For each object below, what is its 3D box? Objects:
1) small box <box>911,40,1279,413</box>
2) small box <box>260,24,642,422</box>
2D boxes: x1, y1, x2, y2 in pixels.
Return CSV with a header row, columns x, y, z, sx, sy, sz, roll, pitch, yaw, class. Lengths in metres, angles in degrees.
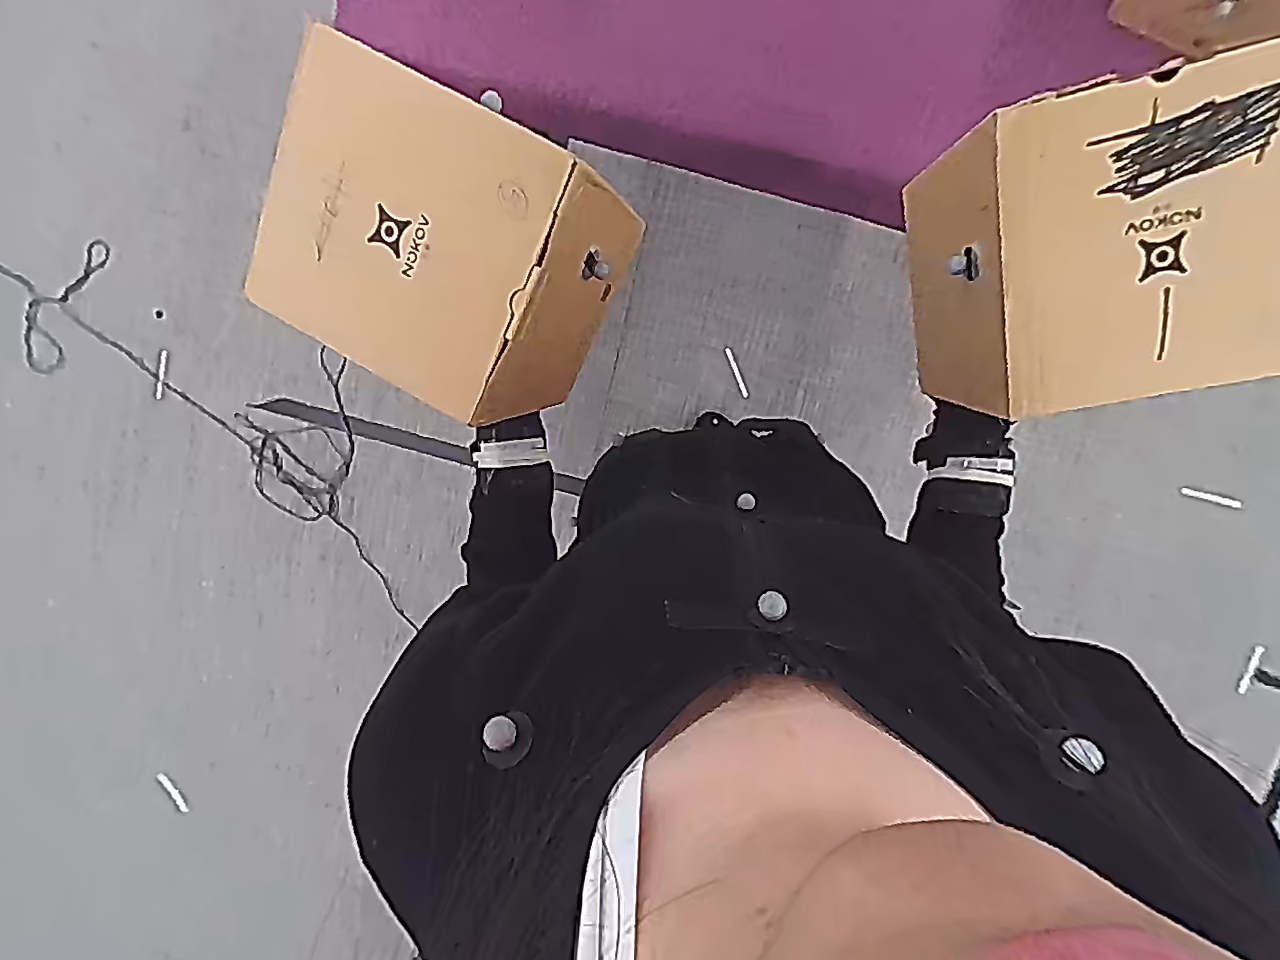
x,y,z,sx,sy,sz,roll,pitch,yaw,class
0.306,-0.155,0.381,0.168,0.176,0.179,-9,104,12,small box
-0.117,-0.163,0.393,0.179,0.176,0.168,29,107,5,small box
